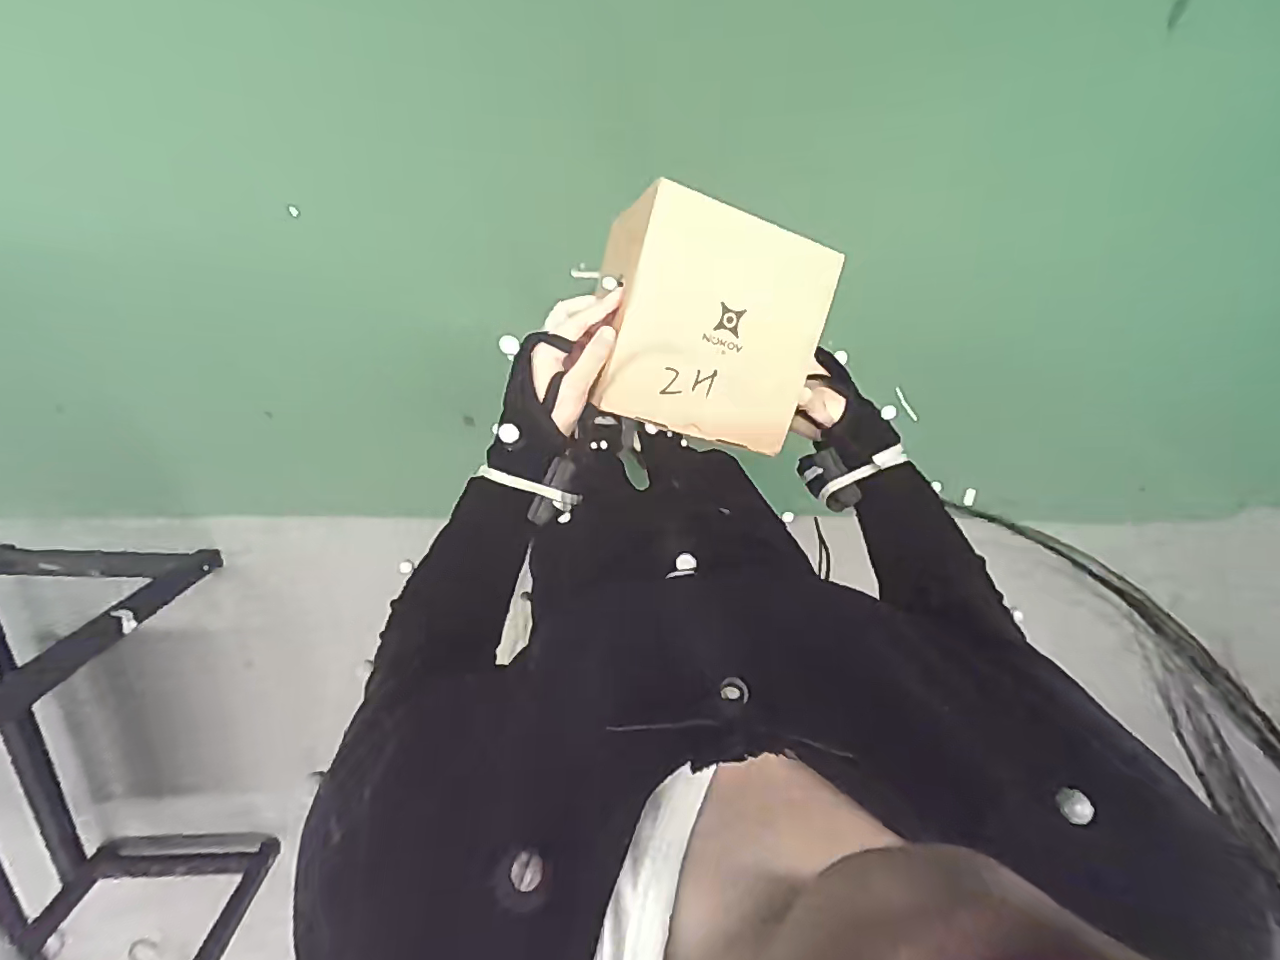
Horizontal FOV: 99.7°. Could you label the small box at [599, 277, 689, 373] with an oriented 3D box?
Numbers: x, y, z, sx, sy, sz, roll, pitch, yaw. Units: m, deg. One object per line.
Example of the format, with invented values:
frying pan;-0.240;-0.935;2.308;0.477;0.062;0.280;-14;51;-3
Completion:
small box;0.000;-0.323;1.125;0.168;0.176;0.179;0;108;-6
